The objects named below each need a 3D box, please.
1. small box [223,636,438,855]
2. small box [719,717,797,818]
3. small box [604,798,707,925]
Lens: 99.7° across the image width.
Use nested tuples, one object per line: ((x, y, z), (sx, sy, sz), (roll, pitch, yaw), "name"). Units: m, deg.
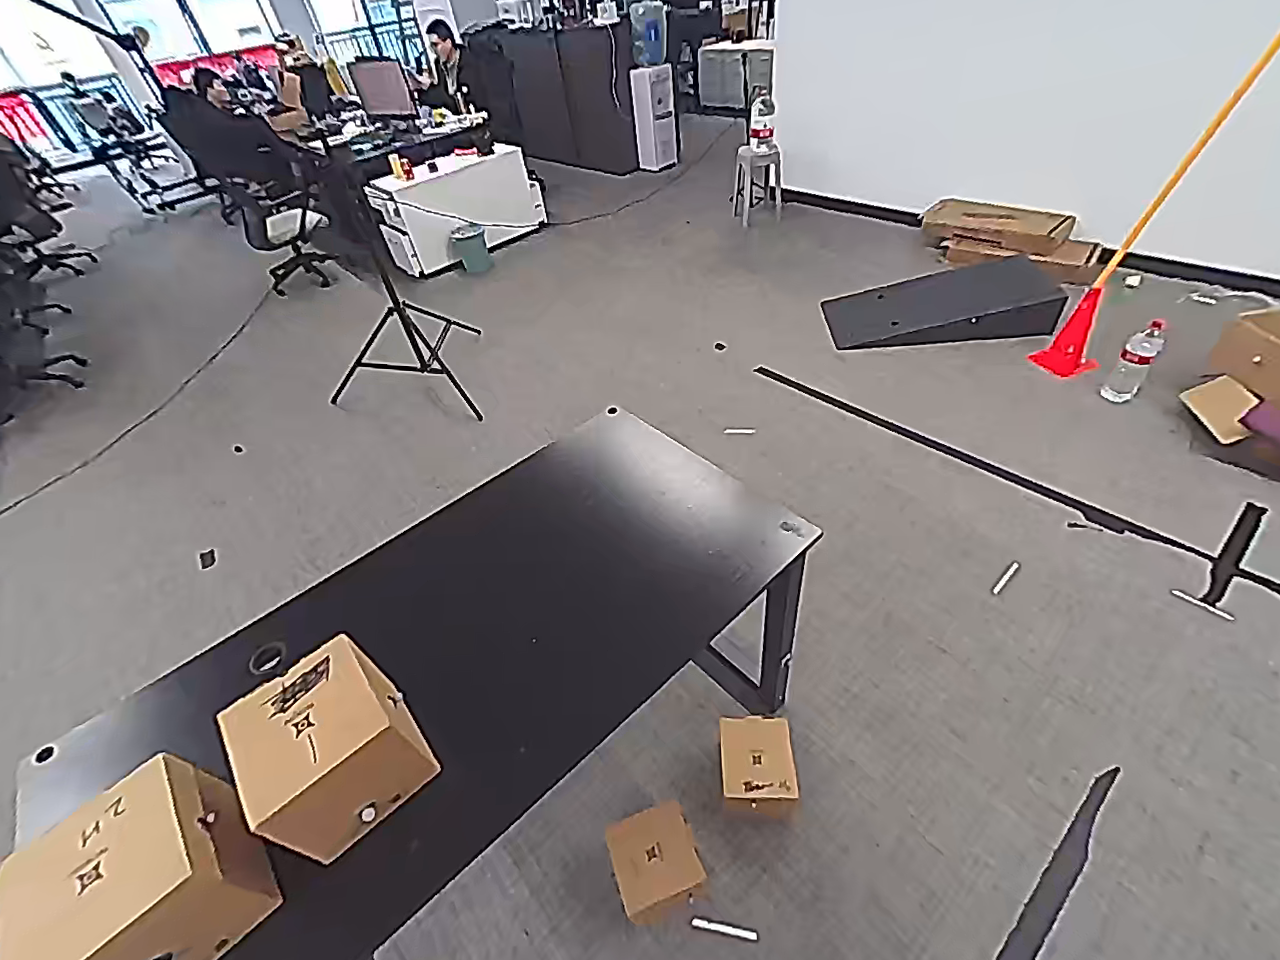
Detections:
((-0.404, 0.353, 0.721), (0.168, 0.176, 0.179), (-36, 50, -24), "small box")
((0.278, 0.694, 1.306), (0.168, 0.176, 0.179), (-4, 44, 6), "small box")
((0.037, 0.844, 1.197), (0.179, 0.176, 0.168), (-20, 44, -9), "small box")
